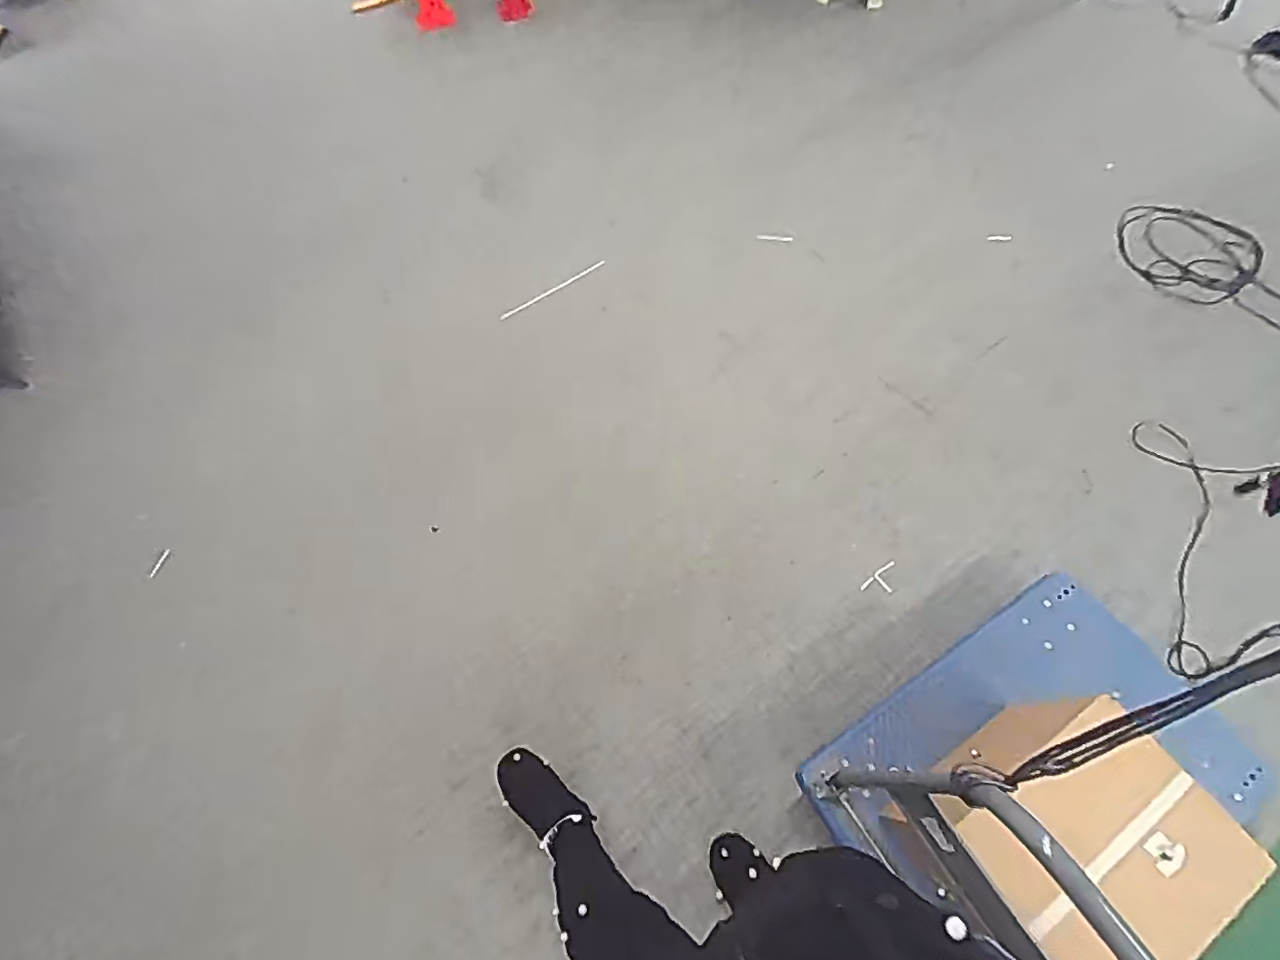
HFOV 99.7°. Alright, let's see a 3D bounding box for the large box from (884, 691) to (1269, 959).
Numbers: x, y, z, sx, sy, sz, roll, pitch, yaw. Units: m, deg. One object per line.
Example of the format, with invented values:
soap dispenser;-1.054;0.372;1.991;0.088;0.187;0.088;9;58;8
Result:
large box;0.749;0.657;0.996;0.408;0.320;0.320;-30;67;-13
